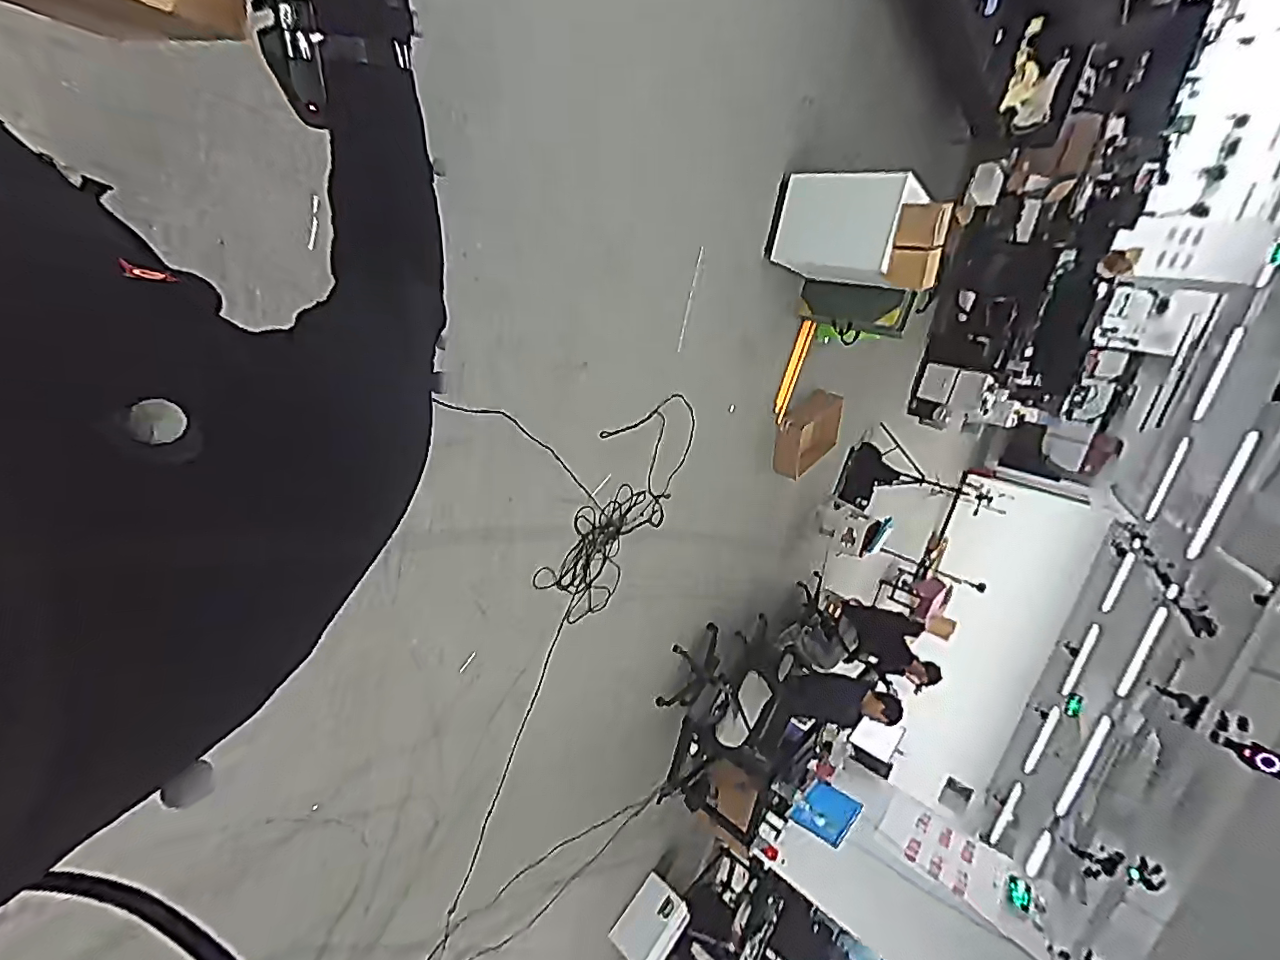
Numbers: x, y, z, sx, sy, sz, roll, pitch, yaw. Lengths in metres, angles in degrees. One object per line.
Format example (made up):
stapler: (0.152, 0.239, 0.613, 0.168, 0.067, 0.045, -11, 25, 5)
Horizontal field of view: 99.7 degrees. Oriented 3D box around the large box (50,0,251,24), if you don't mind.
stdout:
large box: (-0.463, -0.477, 0.233, 0.408, 0.320, 0.320, -14, 127, -52)
